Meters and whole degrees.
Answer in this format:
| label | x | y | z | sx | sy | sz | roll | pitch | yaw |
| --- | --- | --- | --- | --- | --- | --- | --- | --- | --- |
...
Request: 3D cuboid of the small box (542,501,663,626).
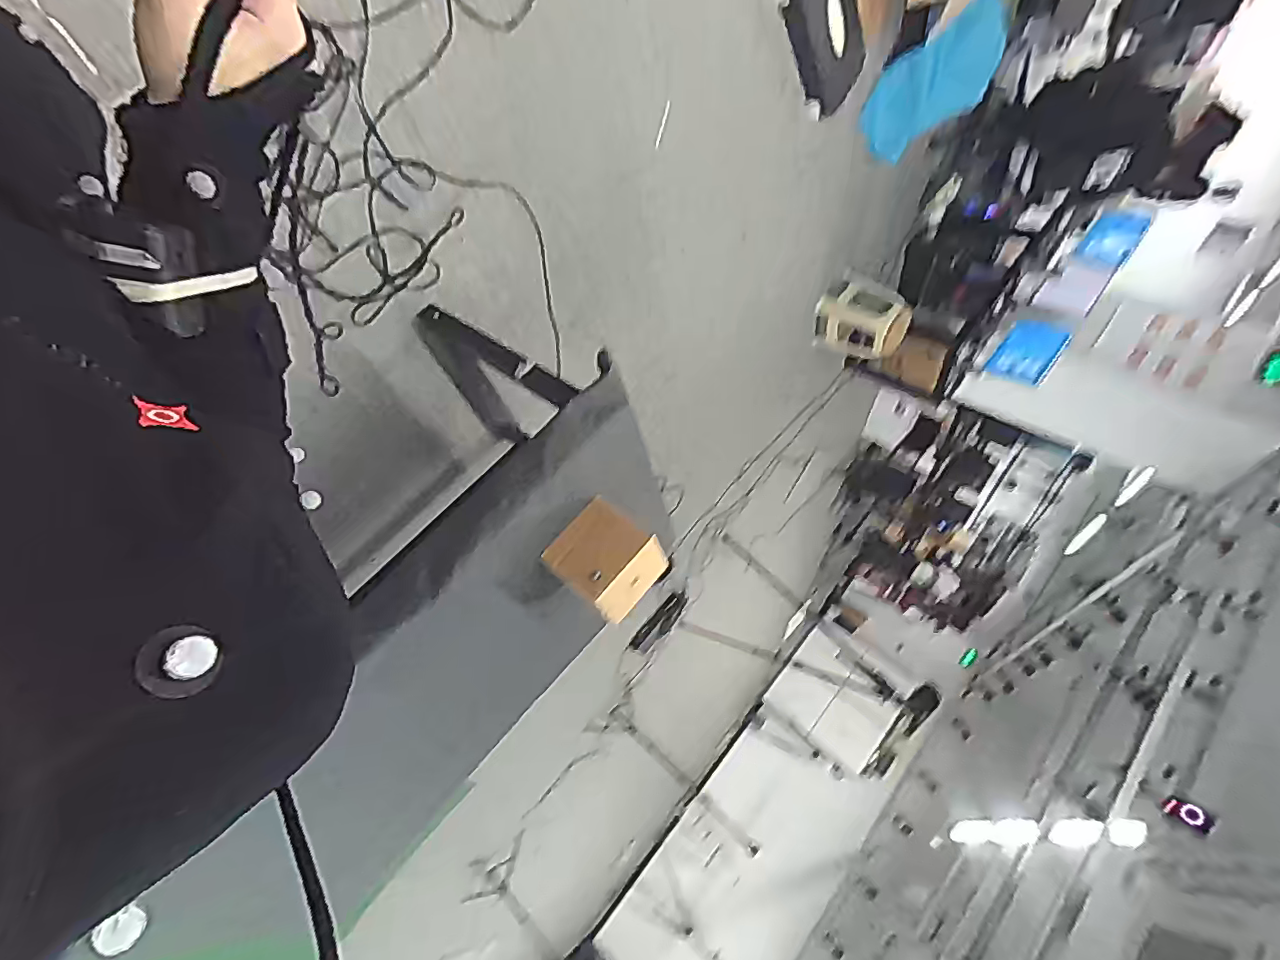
| label | x | y | z | sx | sy | sz | roll | pitch | yaw |
| --- | --- | --- | --- | --- | --- | --- | --- | --- | --- |
| small box | -0.078 | 0.176 | 1.164 | 0.179 | 0.176 | 0.168 | -47 | 150 | -15 |
